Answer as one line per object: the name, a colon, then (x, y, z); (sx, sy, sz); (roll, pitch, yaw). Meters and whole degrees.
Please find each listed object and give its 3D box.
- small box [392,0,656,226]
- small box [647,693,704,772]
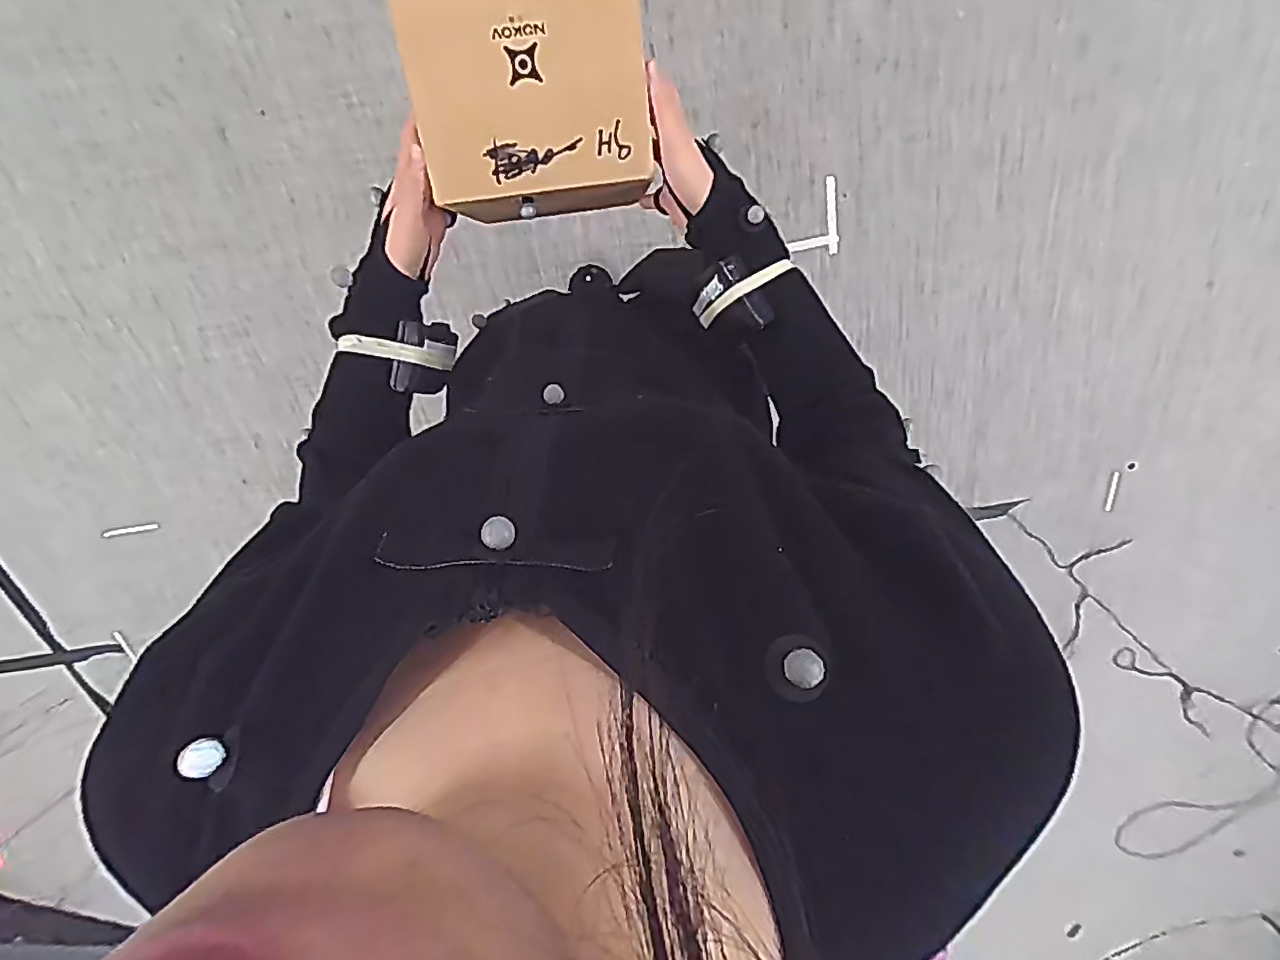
small box: (-0.084, -0.318, 0.441); (0.168, 0.176, 0.179); (-8, 111, -1)
small box: (0.123, 0.879, 1.890); (0.168, 0.176, 0.179); (-10, 114, 0)
